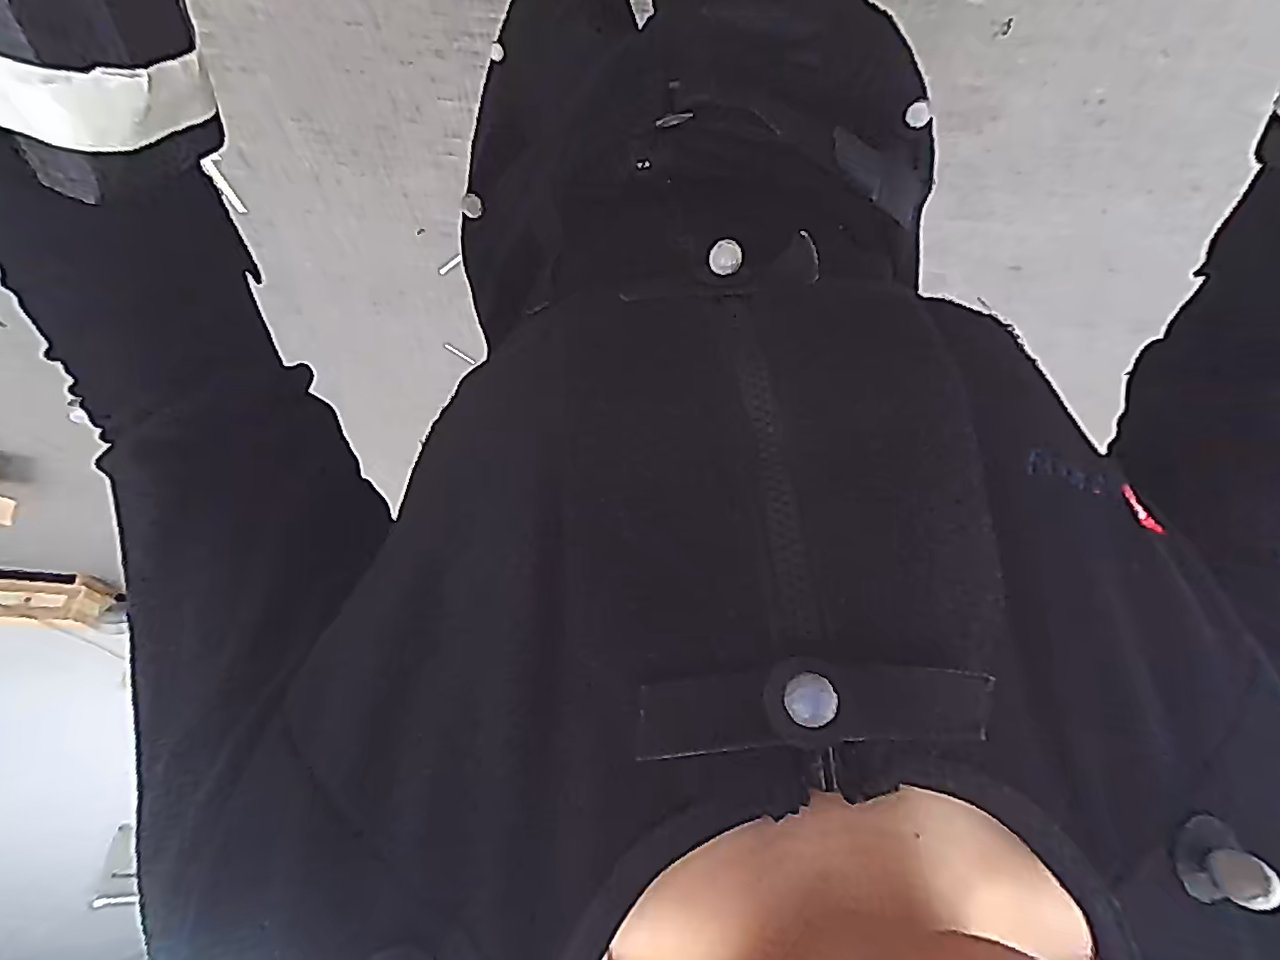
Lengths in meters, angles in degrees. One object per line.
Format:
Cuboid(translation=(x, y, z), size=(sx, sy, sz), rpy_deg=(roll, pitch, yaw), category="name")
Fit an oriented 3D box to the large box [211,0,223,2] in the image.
Cuboid(translation=(0.032, -0.349, 0.065), size=(0.408, 0.320, 0.320), rpy_deg=(-3, 172, -2), category="large box")
